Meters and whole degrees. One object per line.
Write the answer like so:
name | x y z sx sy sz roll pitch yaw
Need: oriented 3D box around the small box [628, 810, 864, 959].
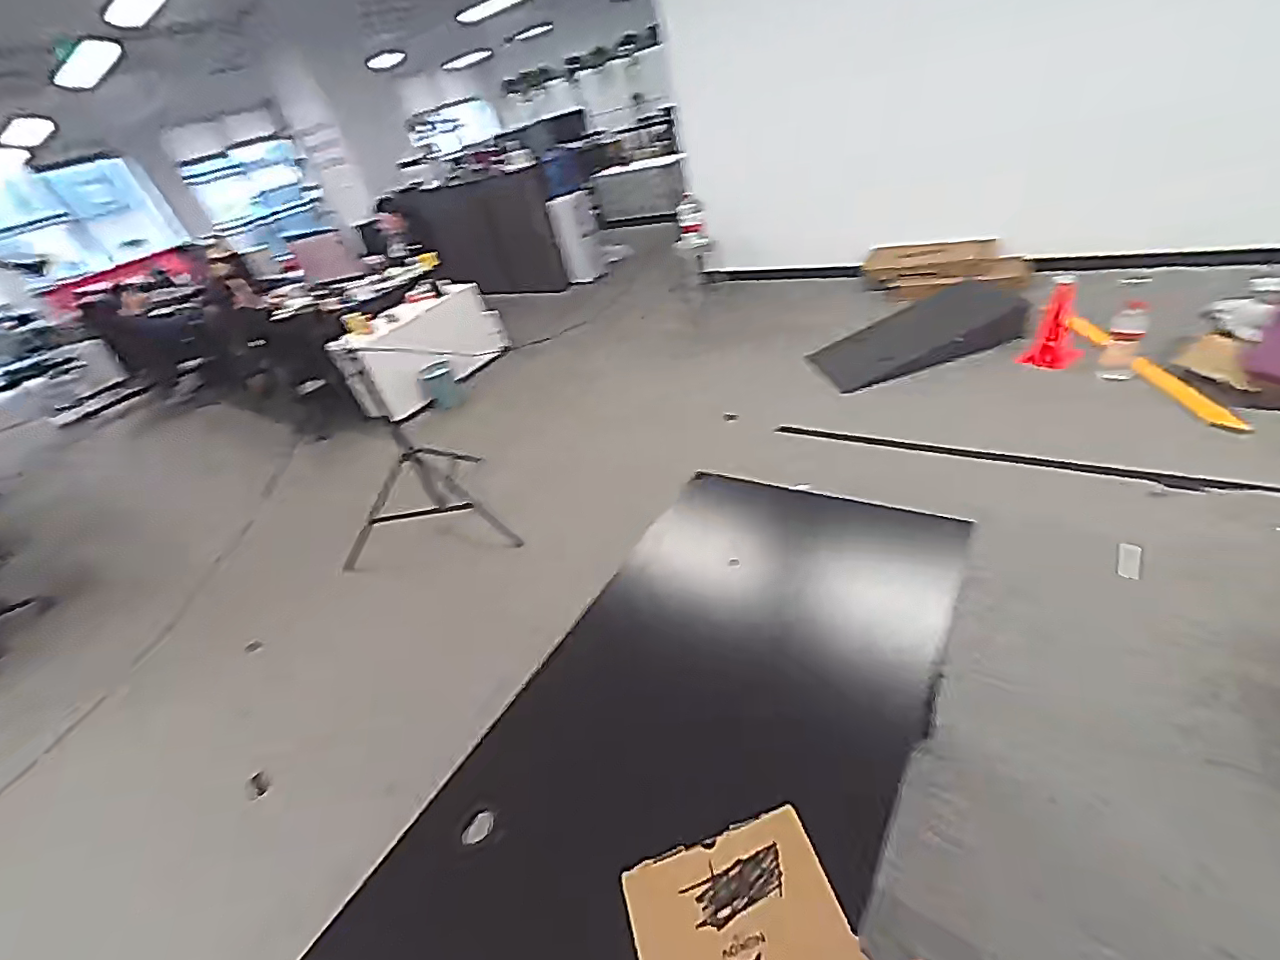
small box | 0.100 0.433 0.470 0.168 0.176 0.179 -18 41 -5
